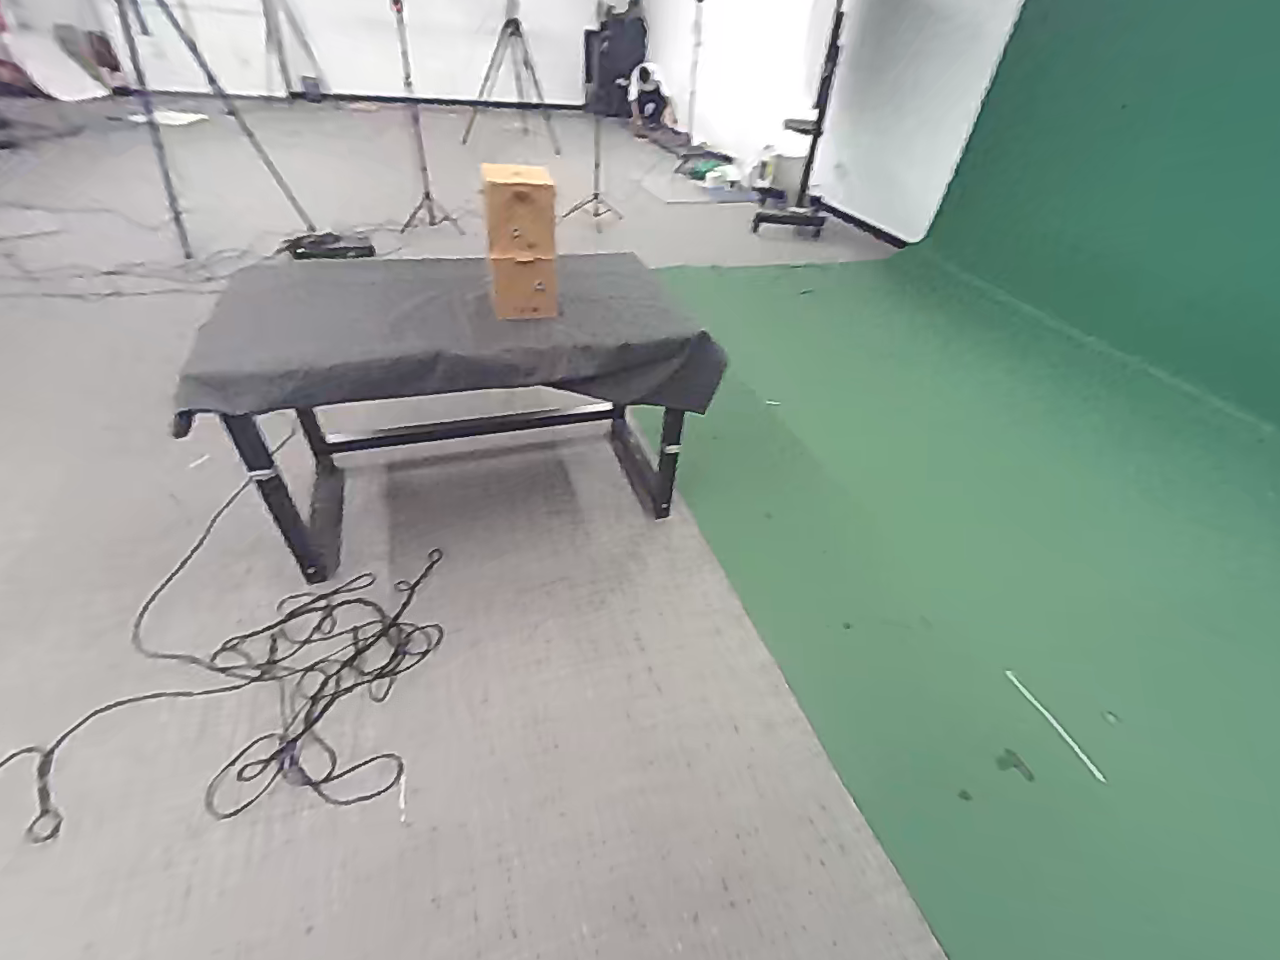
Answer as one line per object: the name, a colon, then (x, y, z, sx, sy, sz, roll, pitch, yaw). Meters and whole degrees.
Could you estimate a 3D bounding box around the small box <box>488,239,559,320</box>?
small box: (-0.314, -0.541, 1.460, 0.168, 0.176, 0.179, -7, 41, -16)

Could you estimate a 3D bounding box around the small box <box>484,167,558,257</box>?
small box: (-0.302, -0.675, 1.367, 0.168, 0.176, 0.179, -6, 43, -15)
